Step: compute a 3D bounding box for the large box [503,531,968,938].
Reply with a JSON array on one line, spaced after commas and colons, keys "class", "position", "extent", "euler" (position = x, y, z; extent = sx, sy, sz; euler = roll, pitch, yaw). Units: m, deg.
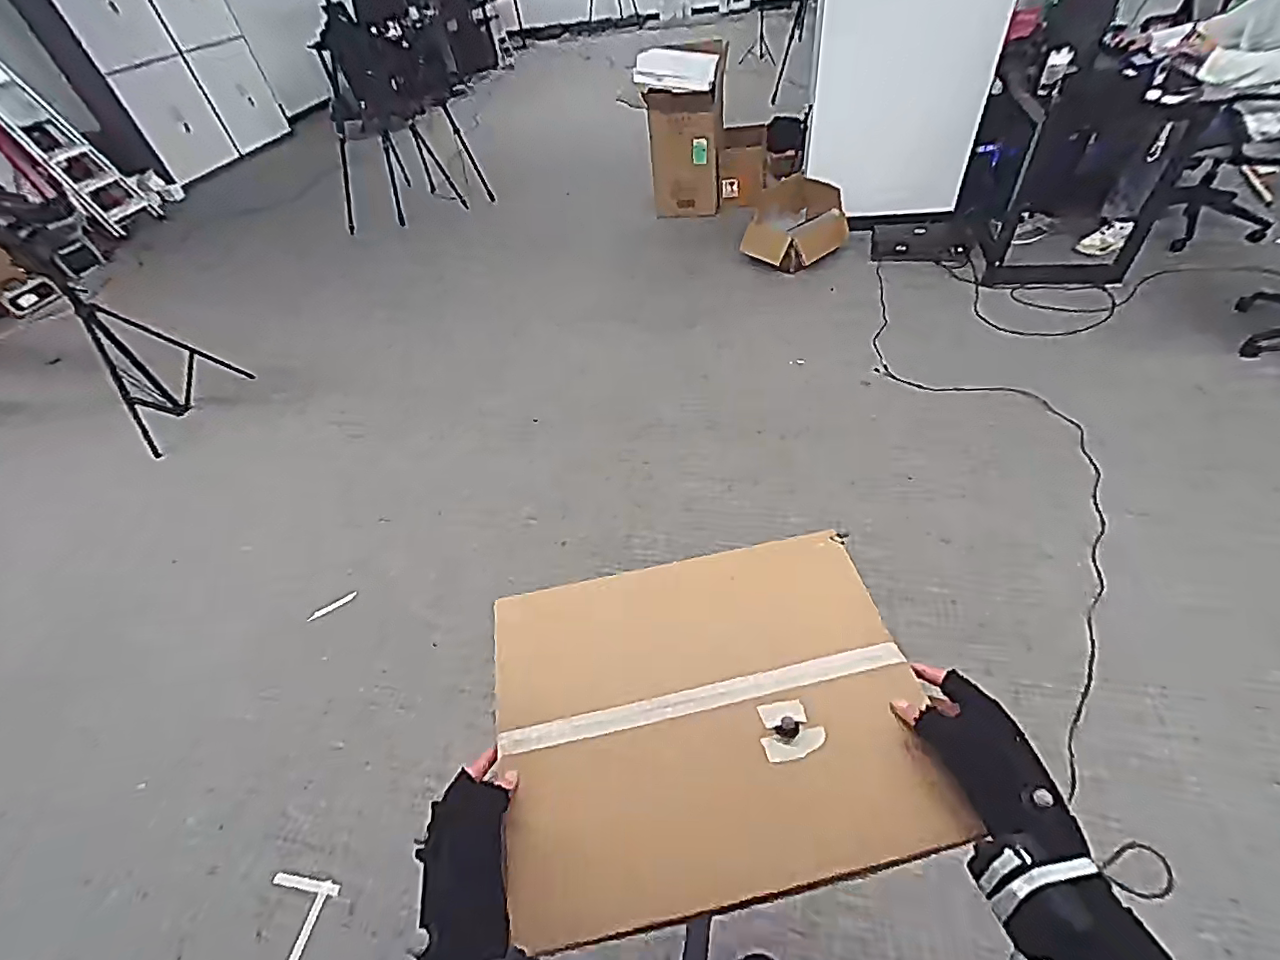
[{"class": "large box", "position": [0.073, 0.310, 0.658], "extent": [0.408, 0.320, 0.320], "euler": [-11, 50, -4]}]
